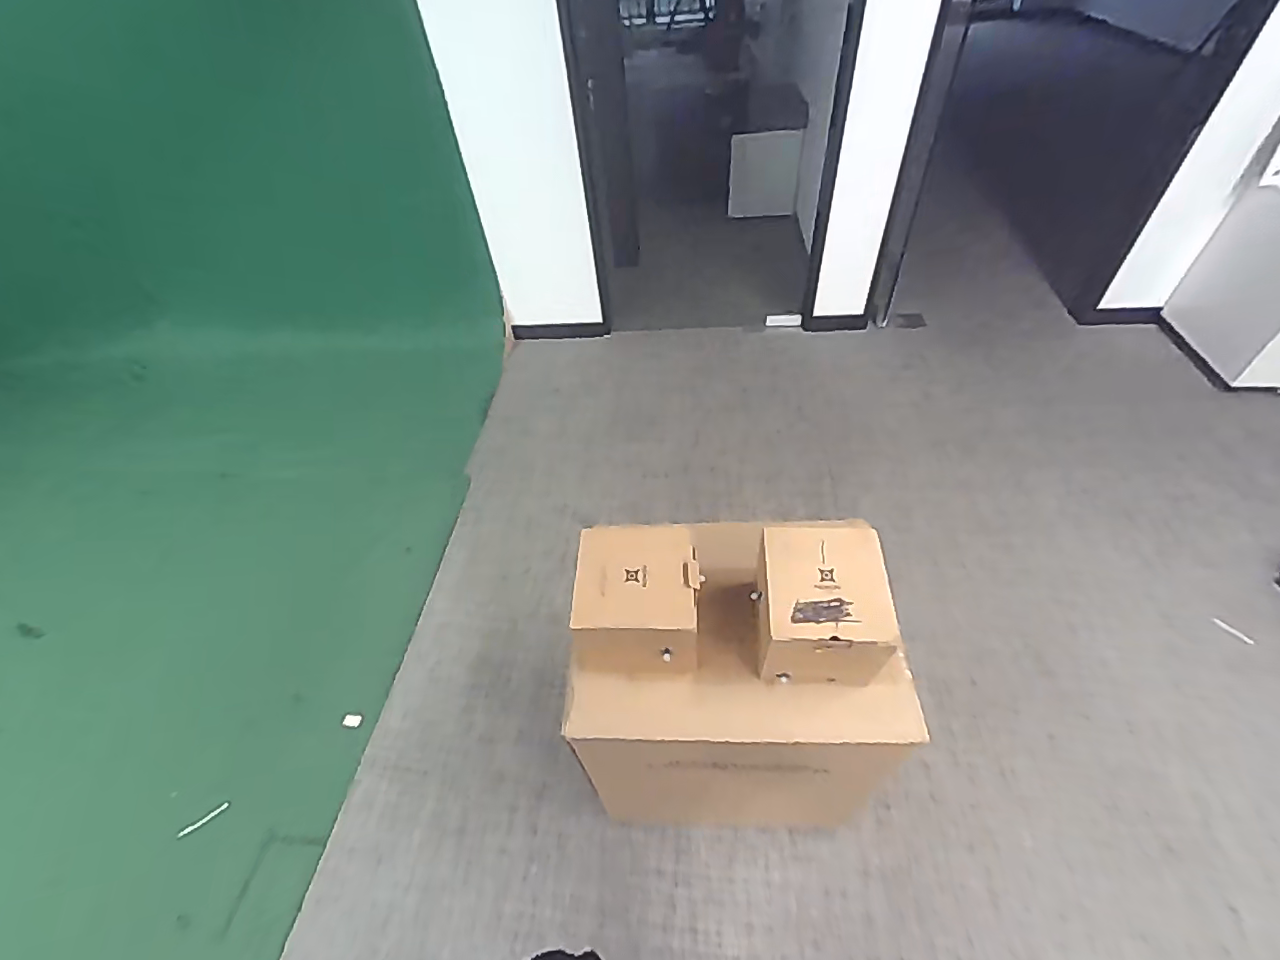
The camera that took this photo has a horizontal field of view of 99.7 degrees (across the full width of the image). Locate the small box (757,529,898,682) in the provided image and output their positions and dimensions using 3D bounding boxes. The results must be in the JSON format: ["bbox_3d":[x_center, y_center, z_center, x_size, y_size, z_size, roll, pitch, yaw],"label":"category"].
[{"bbox_3d":[0.267,0.191,0.814,0.168,0.176,0.179,1,51,7],"label":"small box"}]

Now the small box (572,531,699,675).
[{"bbox_3d":[0.004,0.195,0.847,0.179,0.176,0.168,-3,50,6],"label":"small box"}]
